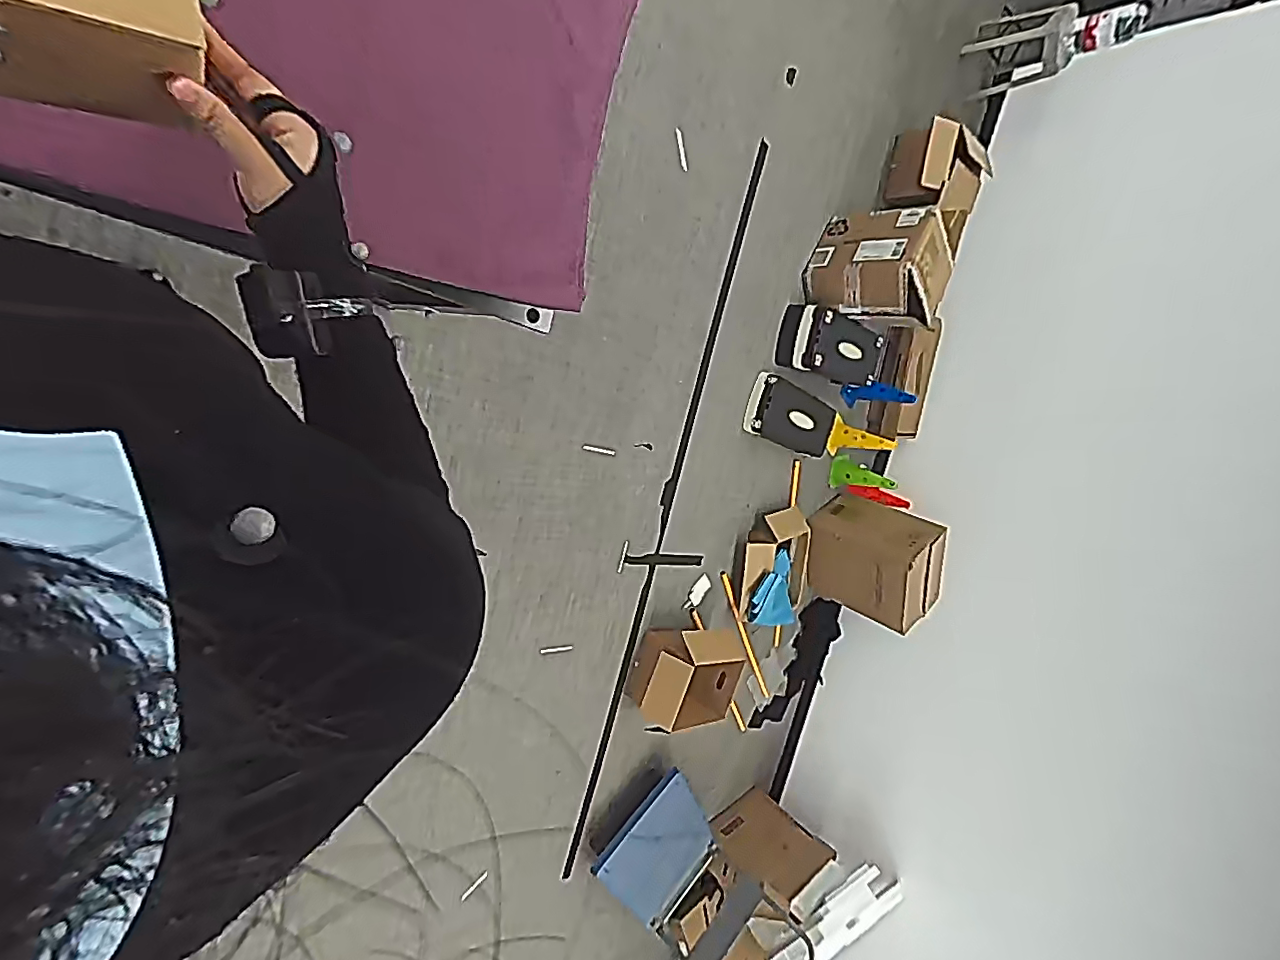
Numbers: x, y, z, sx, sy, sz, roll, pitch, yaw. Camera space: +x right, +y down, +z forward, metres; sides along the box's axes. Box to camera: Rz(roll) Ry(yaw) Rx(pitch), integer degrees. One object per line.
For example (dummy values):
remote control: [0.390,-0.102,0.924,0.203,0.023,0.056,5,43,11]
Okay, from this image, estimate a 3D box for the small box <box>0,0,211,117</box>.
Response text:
small box: [-0.357,-0.325,0.292,0.179,0.176,0.168,-10,108,-36]
